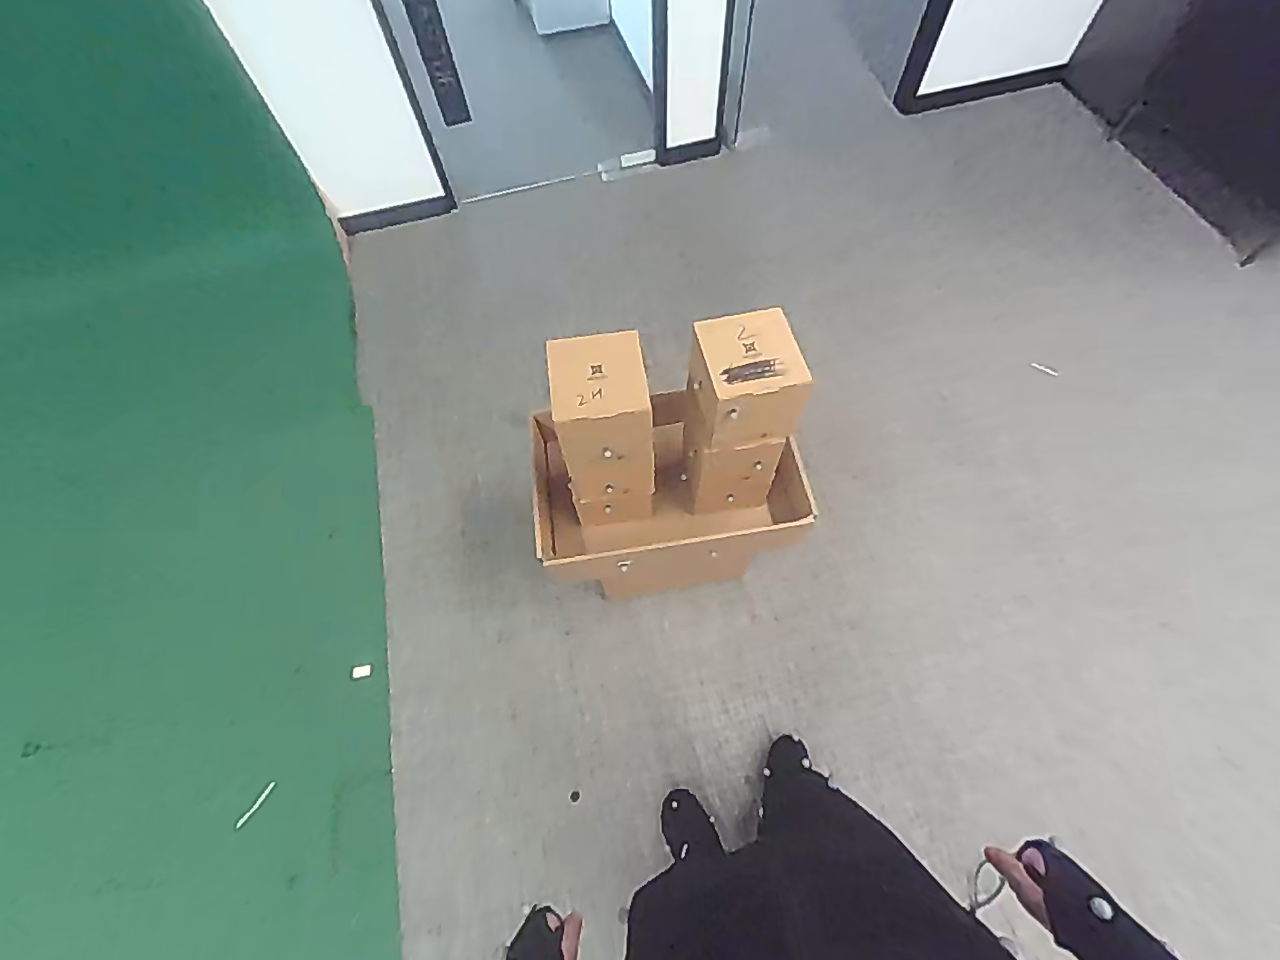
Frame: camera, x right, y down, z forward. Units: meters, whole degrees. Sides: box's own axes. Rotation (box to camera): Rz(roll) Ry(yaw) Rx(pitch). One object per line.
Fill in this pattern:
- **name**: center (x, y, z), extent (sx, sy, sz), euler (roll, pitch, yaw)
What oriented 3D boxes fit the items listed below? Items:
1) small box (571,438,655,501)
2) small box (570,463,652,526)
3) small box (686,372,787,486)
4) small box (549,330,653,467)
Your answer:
- **small box**: center (-0.062, -0.075, 1.133), extent (0.168, 0.176, 0.179), euler (-7, 63, -3)
- **small box**: center (-0.067, -0.001, 1.279), extent (0.179, 0.176, 0.168), euler (-7, 63, -2)
- **small box**: center (0.193, -0.099, 1.133), extent (0.168, 0.176, 0.179), euler (-7, 62, -3)
- **small box**: center (-0.069, -0.144, 0.983), extent (0.168, 0.176, 0.179), euler (-7, 63, -2)
